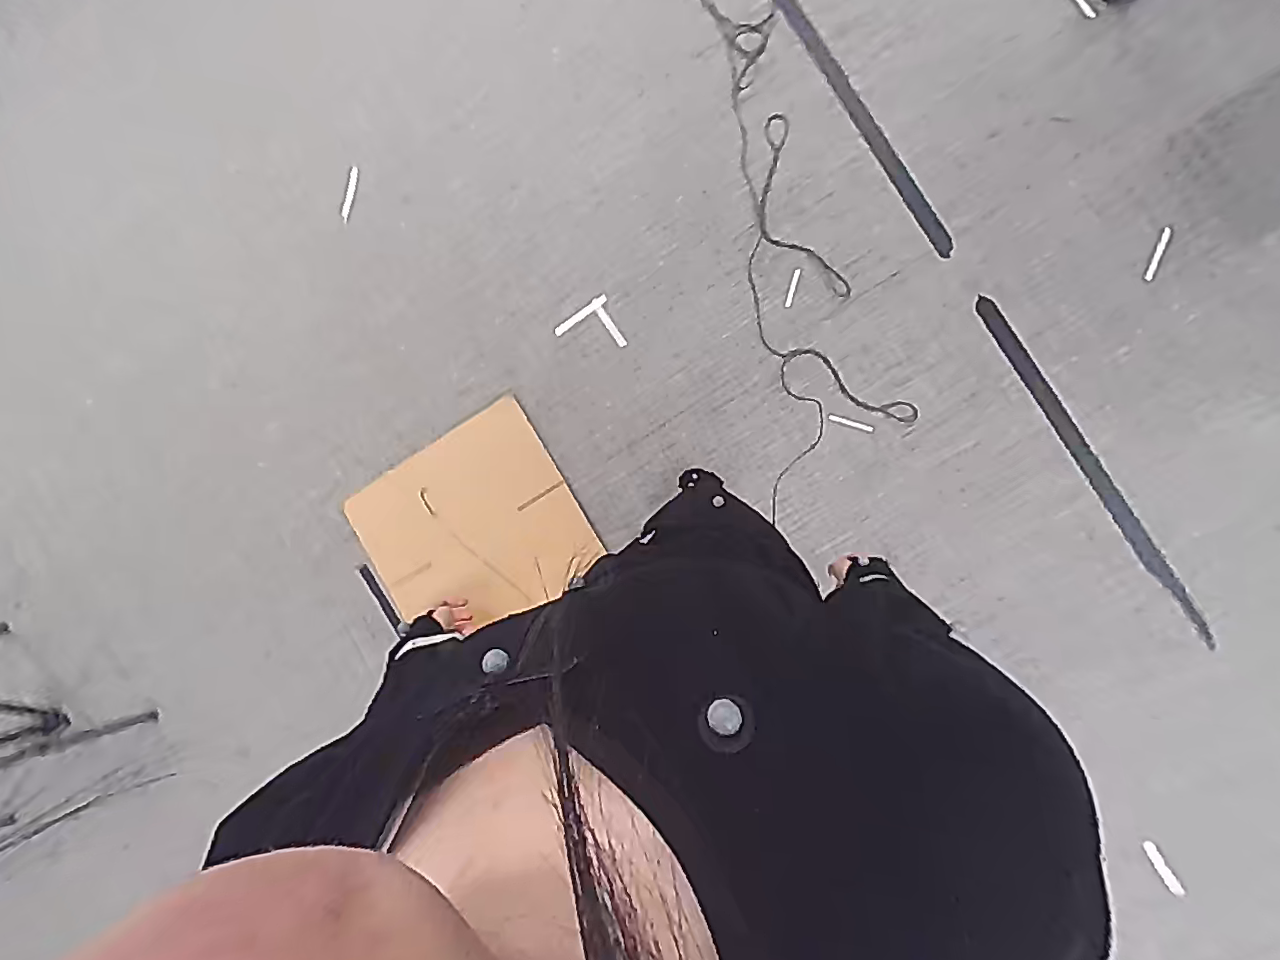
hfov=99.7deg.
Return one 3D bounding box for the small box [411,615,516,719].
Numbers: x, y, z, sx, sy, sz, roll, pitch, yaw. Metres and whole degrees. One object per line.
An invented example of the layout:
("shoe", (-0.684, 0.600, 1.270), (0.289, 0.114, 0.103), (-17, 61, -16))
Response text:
("small box", (-0.461, 0.490, 1.444), (0.179, 0.176, 0.168), (-42, 87, 4))
